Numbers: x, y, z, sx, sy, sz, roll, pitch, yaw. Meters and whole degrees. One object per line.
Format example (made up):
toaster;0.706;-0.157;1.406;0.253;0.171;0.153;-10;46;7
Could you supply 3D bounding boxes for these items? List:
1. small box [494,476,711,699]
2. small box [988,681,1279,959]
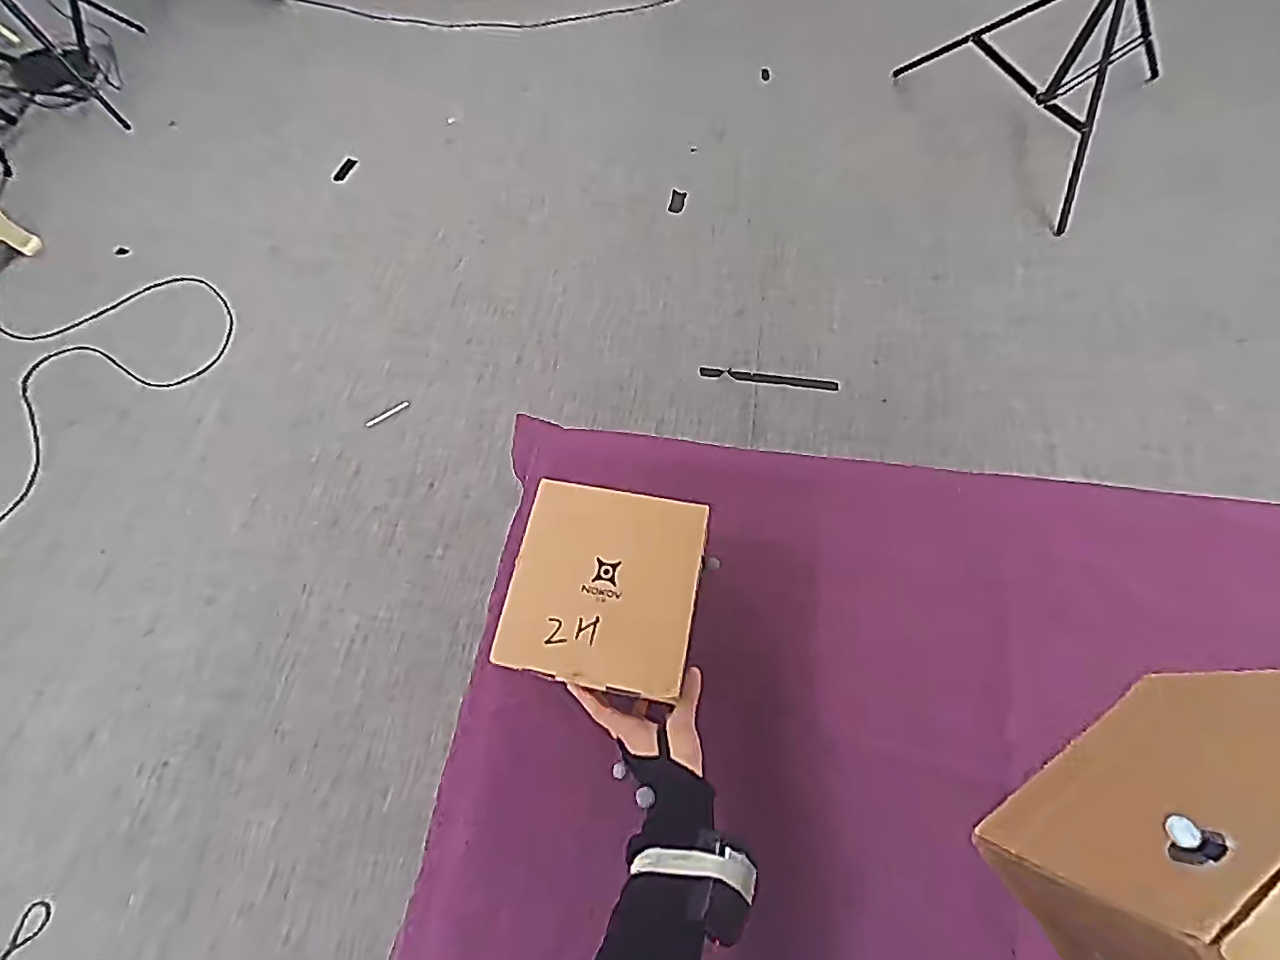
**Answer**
small box;-0.026;0.118;0.559;0.168;0.176;0.179;10;69;8
small box;0.324;0.213;0.260;0.179;0.176;0.168;-33;71;-9
